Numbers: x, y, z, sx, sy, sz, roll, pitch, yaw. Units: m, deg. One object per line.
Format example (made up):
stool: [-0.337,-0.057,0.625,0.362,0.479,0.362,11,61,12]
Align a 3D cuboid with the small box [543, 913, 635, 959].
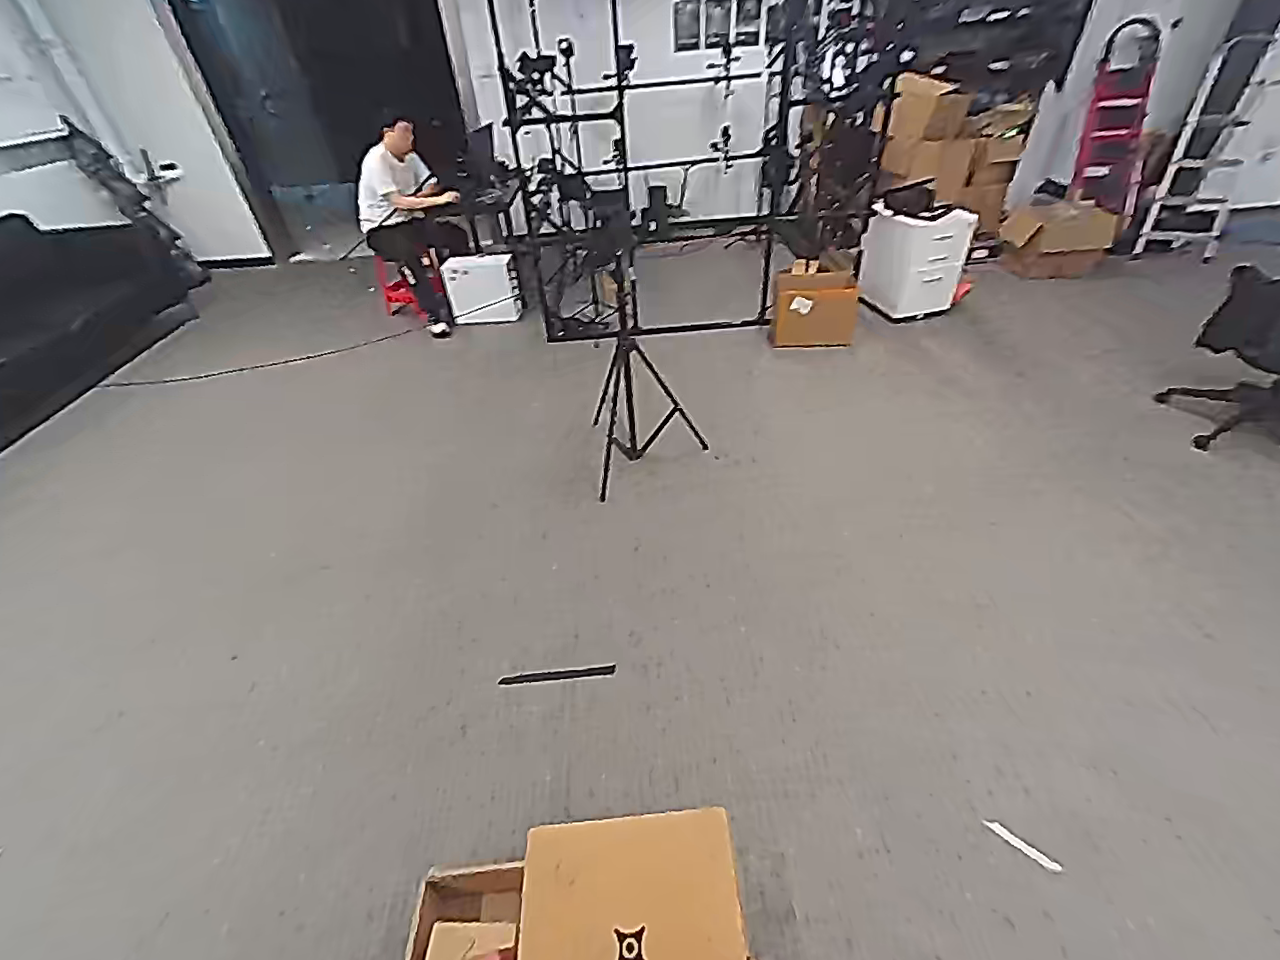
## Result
small box: [-0.092,0.964,1.033,0.168,0.176,0.179,-6,40,-1]
